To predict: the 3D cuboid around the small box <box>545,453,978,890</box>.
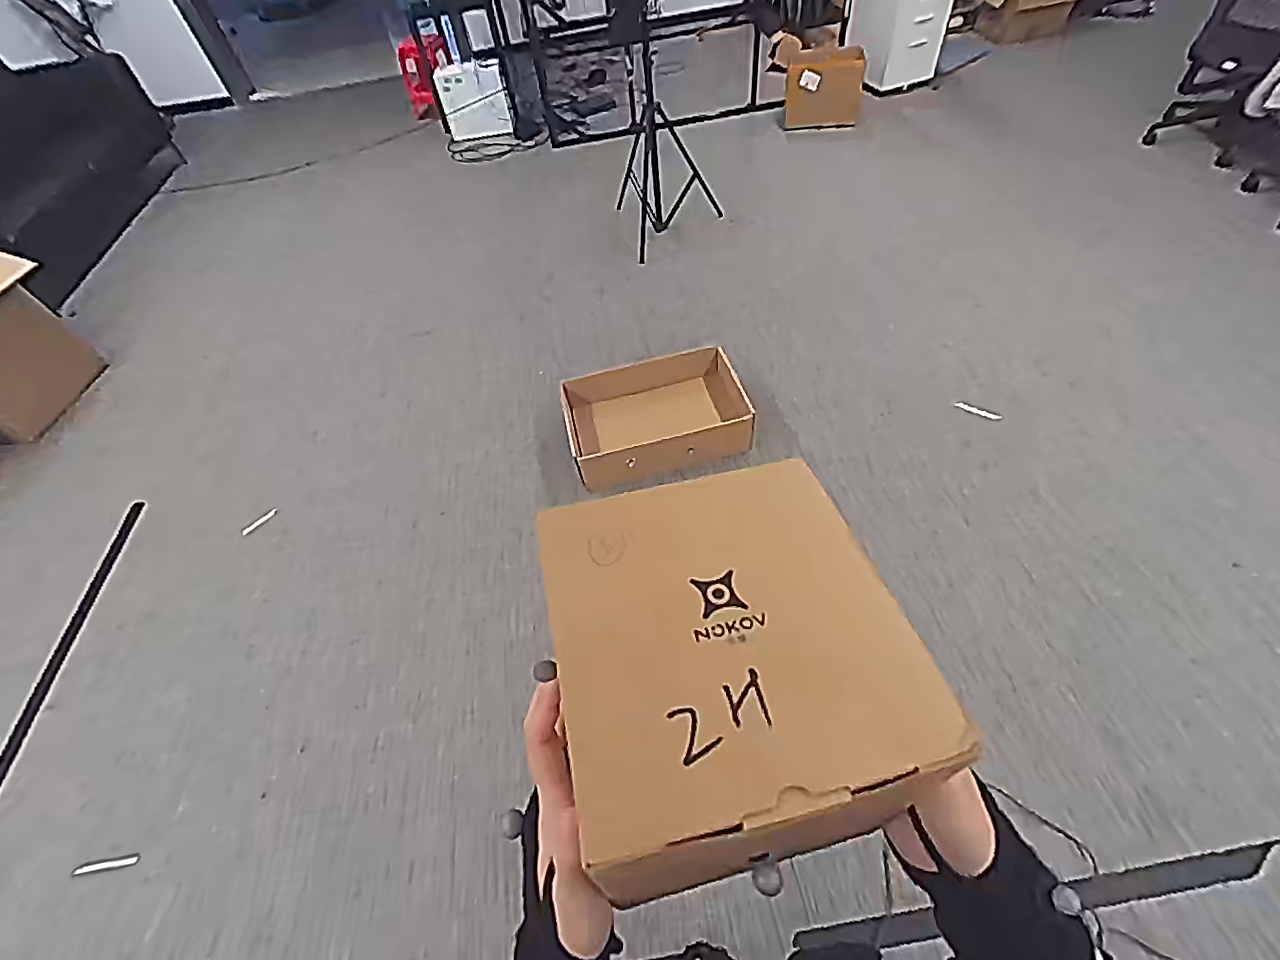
[{"bbox_3d":[0.044,0.113,0.325,0.168,0.176,0.179,-12,49,-7],"label":"small box"}]
